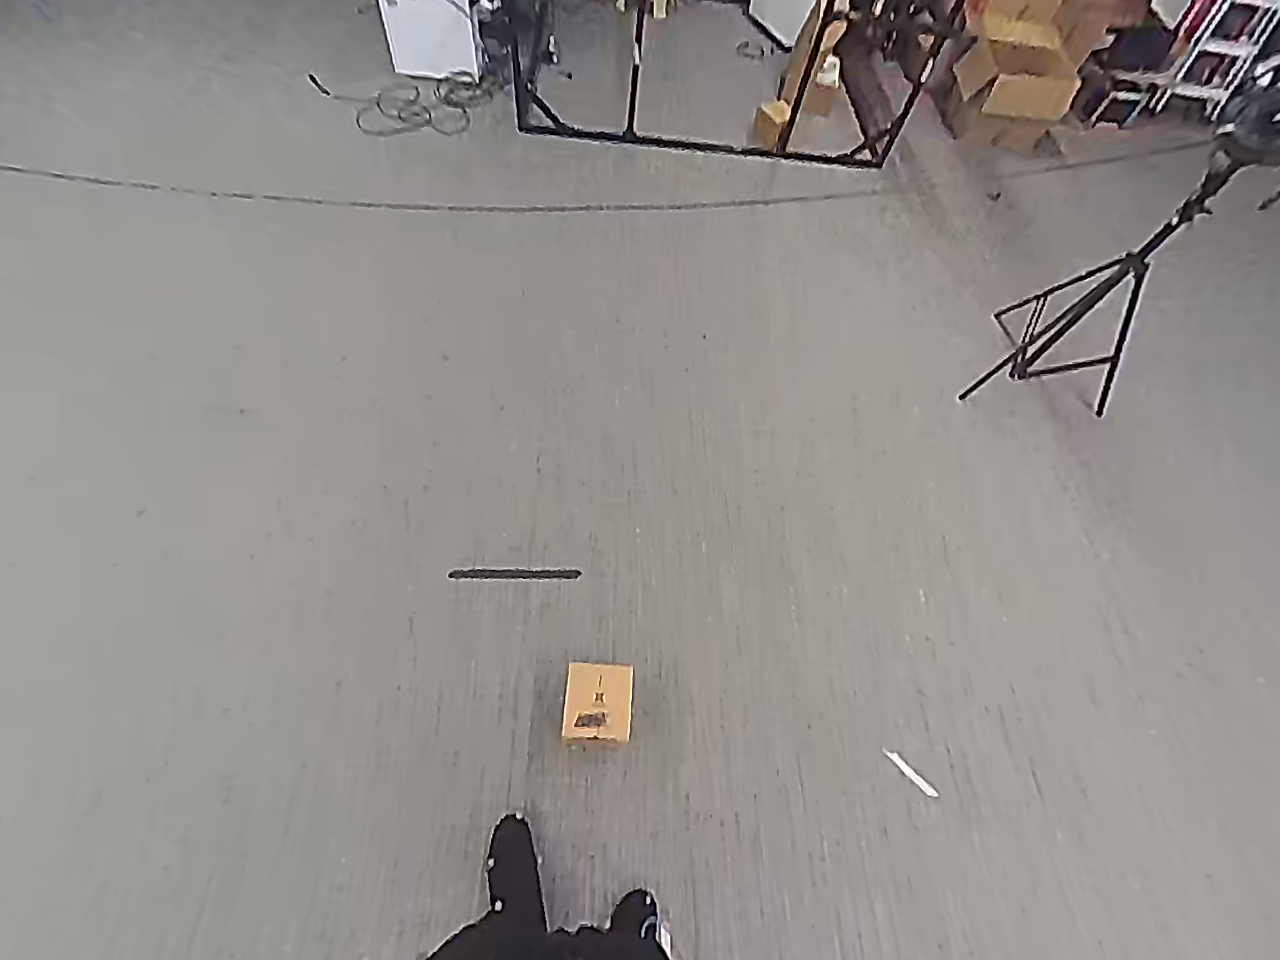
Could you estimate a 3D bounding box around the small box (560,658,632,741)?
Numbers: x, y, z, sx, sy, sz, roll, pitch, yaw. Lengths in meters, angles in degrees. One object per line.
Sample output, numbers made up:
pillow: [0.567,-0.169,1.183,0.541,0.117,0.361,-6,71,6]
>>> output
small box: [-0.113,0.573,1.402,0.168,0.176,0.179,6,59,-5]
